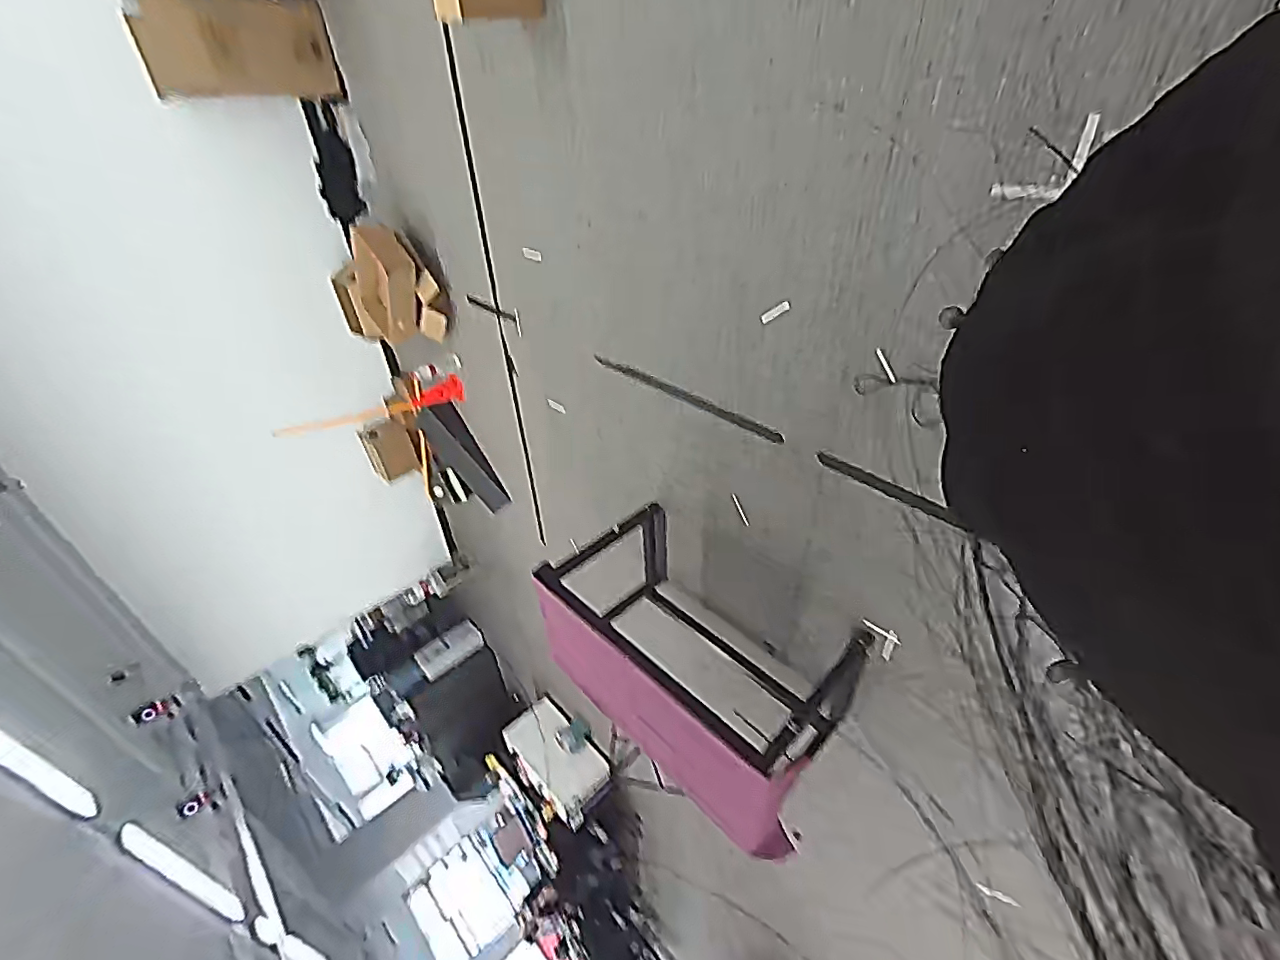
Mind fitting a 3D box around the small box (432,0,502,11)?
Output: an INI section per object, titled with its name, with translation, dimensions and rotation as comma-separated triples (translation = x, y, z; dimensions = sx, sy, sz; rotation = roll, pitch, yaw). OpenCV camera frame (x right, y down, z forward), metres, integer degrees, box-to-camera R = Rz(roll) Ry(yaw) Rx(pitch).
[small box]
translation = -0.566, -1.628, 1.735
dimensions = 0.168, 0.176, 0.179
rotation = 35, 141, 33
